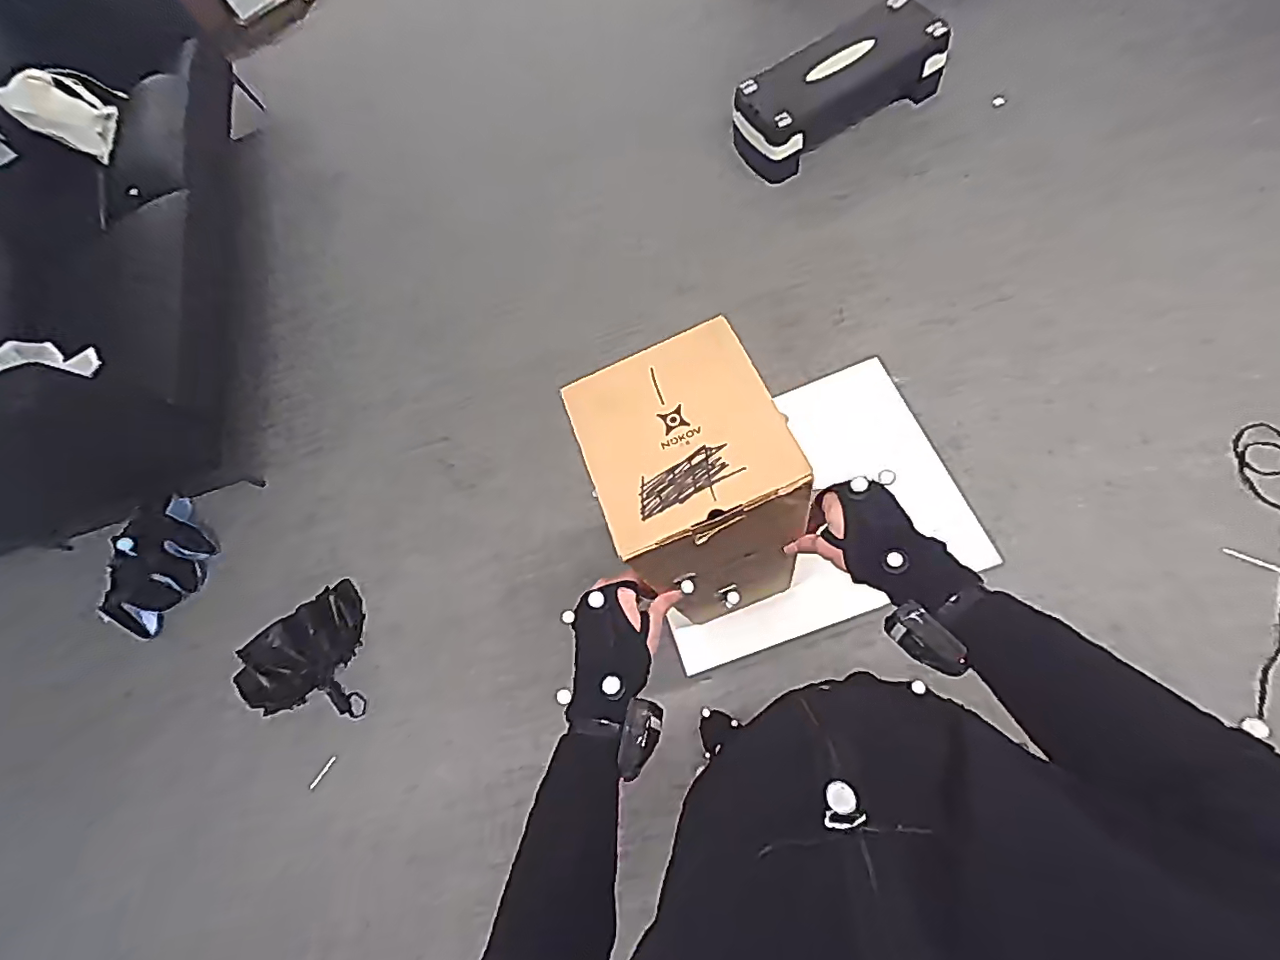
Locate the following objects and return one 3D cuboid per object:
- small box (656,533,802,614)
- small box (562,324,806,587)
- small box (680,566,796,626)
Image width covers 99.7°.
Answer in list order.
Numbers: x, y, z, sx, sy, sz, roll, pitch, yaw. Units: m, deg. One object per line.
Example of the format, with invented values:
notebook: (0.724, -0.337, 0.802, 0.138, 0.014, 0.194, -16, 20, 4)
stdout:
small box: (0.085, 0.050, 0.676, 0.168, 0.176, 0.179, -24, 66, 4)
small box: (0.048, -0.008, 0.526, 0.168, 0.176, 0.179, -24, 63, 4)
small box: (0.123, 0.106, 0.825, 0.168, 0.176, 0.179, -23, 65, 4)
